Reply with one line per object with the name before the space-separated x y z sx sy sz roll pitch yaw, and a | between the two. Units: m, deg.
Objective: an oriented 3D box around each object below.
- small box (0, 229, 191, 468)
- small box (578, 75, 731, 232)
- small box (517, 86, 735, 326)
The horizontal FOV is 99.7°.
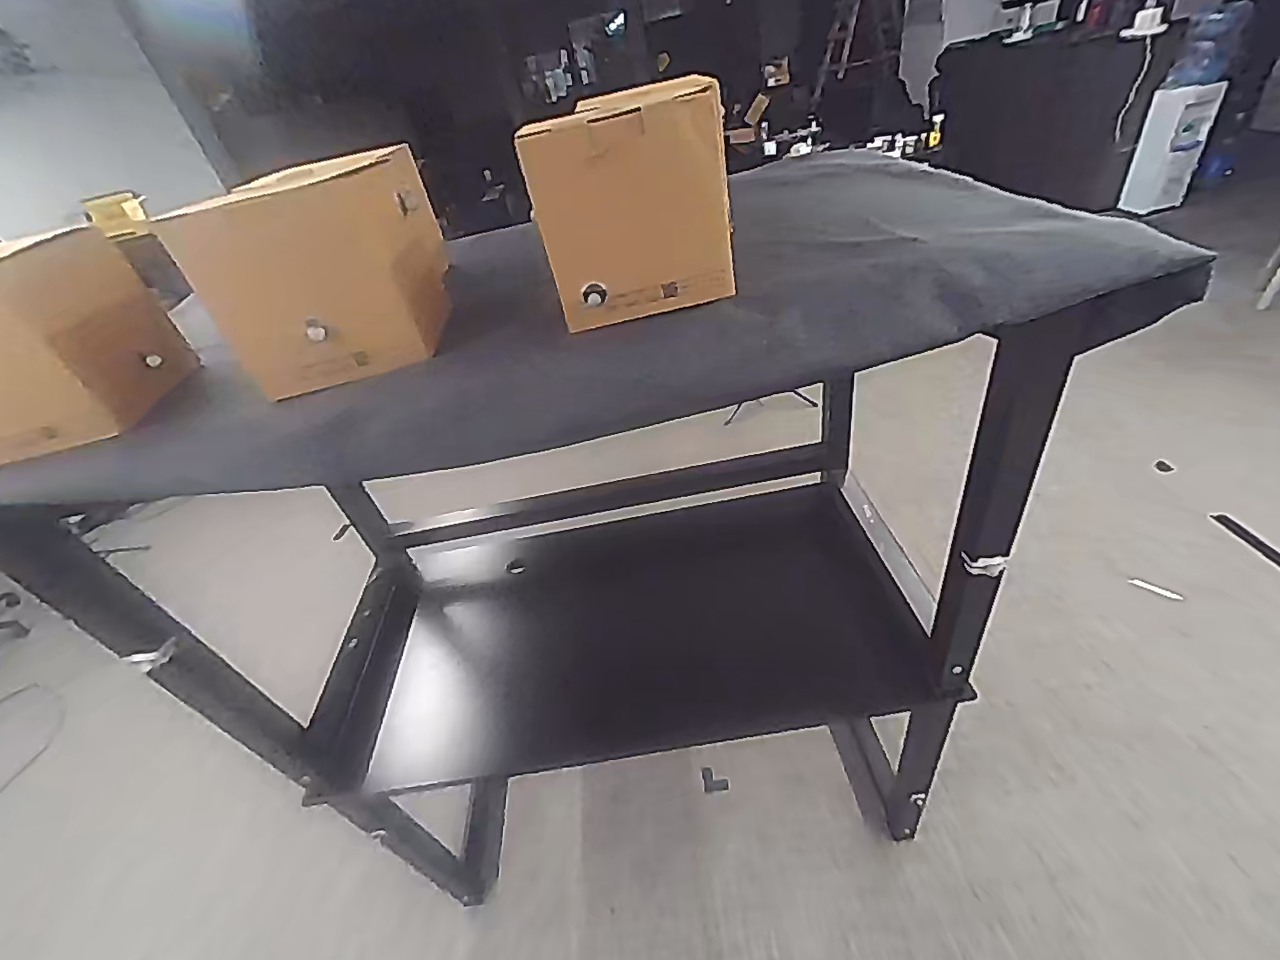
small box | -0.616 -0.132 0.548 0.168 0.176 0.179 -15 38 -2
small box | 0.020 -0.410 0.710 0.168 0.176 0.179 -11 39 4
small box | -0.009 -0.265 0.533 0.168 0.176 0.179 -12 36 2
